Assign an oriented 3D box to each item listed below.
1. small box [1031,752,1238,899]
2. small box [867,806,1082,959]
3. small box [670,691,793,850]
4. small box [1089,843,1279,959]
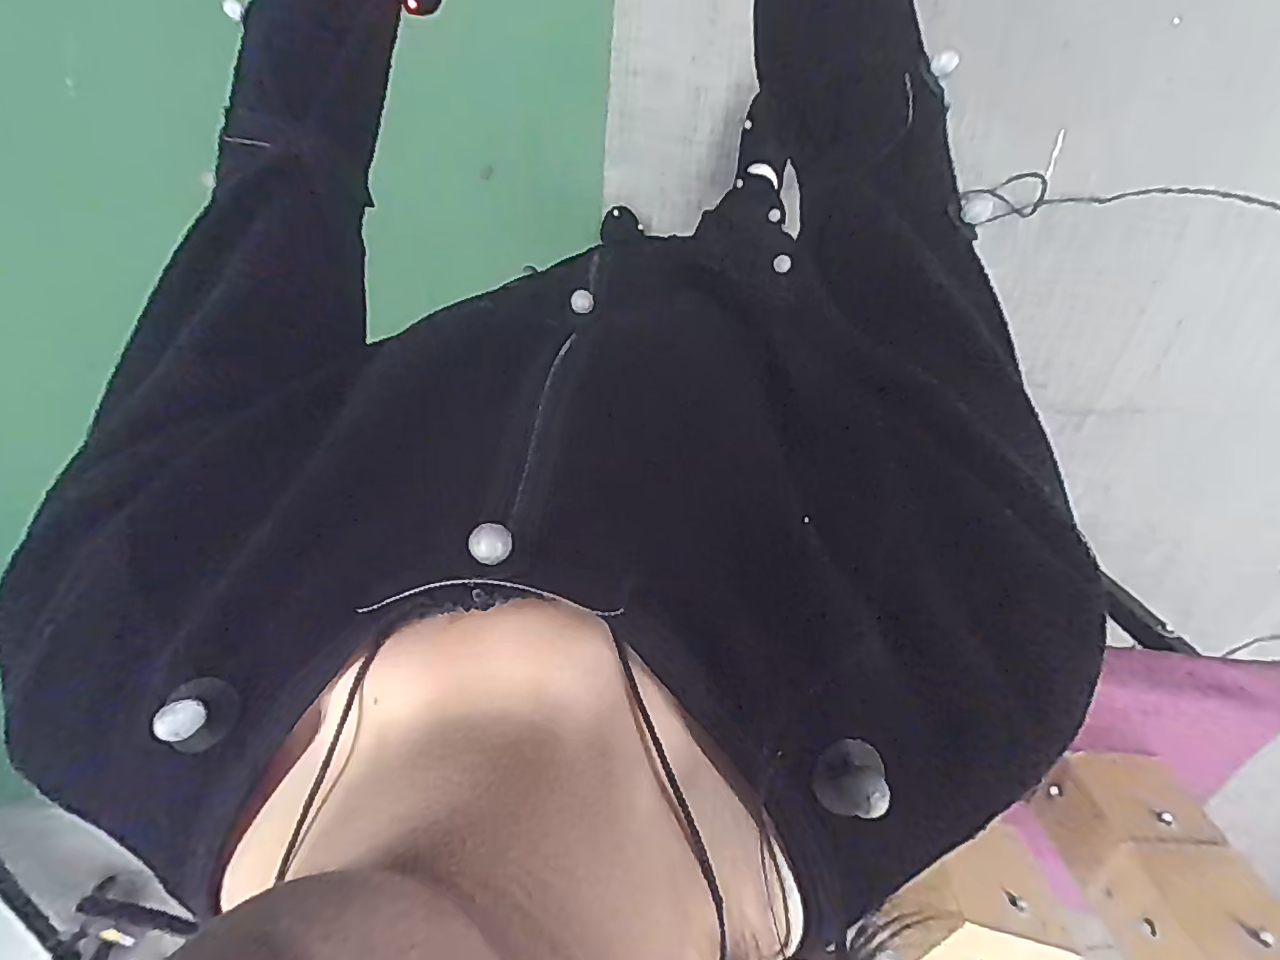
[{"bbox_3d":[0.844,0.605,0.946,0.179,0.176,0.168,3,116,3],"label":"small box"},{"bbox_3d":[0.471,0.617,0.795,0.179,0.176,0.168,19,116,-5],"label":"small box"},{"bbox_3d":[0.147,0.498,0.943,0.168,0.176,0.179,10,116,-1],"label":"small box"},{"bbox_3d":[0.828,0.672,0.800,0.179,0.176,0.168,1,115,3],"label":"small box"}]
